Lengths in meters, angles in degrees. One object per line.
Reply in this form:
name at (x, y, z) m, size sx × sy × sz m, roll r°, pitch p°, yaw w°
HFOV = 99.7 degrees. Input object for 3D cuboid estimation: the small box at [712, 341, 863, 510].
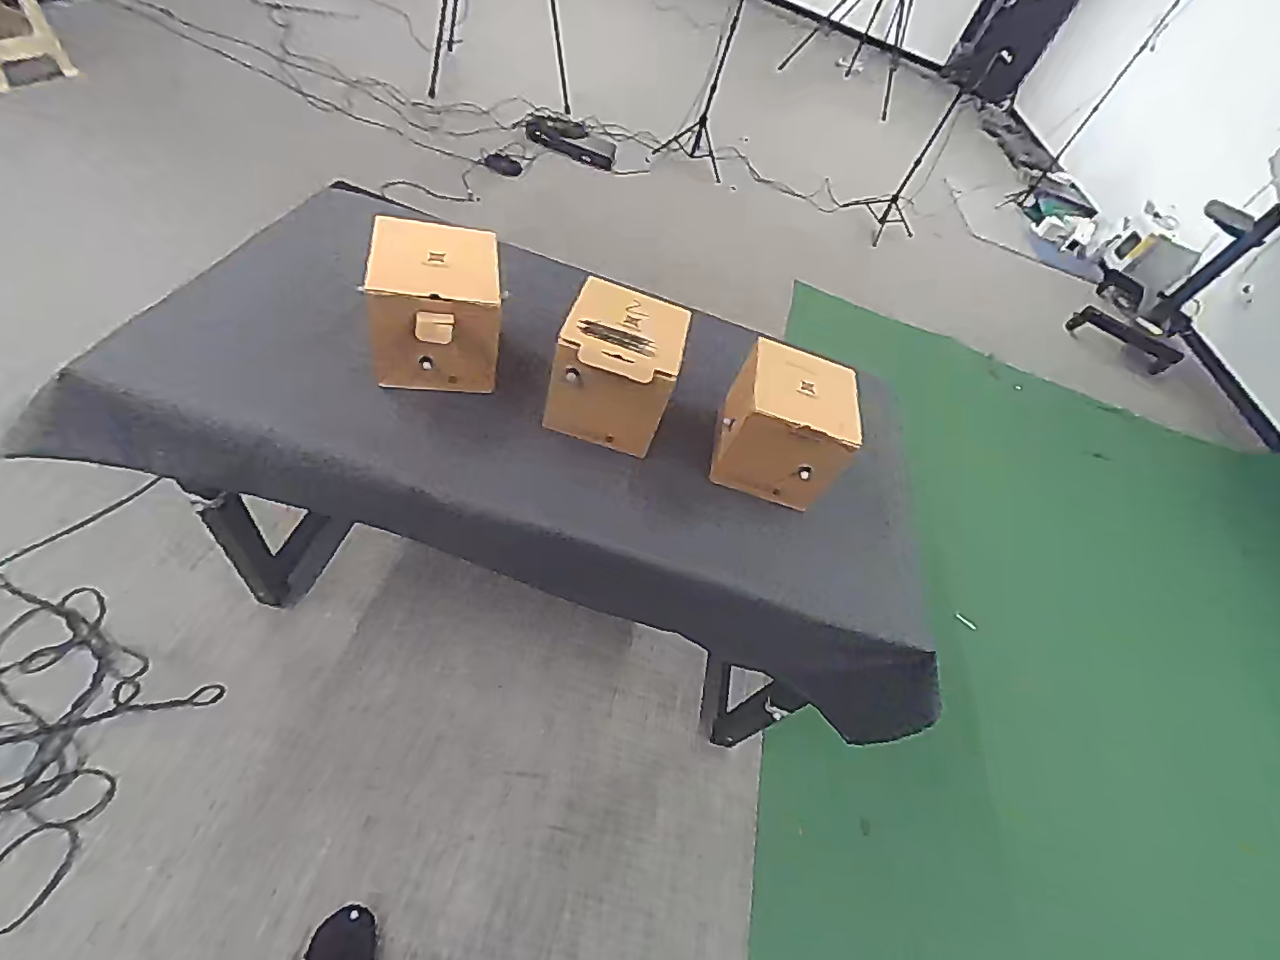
small box at (0.222, -0.079, 0.847) m, size 0.168 × 0.176 × 0.179 m, roll 18°, pitch 48°, yaw -6°

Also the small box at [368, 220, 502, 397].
small box at (-0.298, -0.248, 0.801) m, size 0.168 × 0.176 × 0.179 m, roll 1°, pitch 54°, yaw -19°
